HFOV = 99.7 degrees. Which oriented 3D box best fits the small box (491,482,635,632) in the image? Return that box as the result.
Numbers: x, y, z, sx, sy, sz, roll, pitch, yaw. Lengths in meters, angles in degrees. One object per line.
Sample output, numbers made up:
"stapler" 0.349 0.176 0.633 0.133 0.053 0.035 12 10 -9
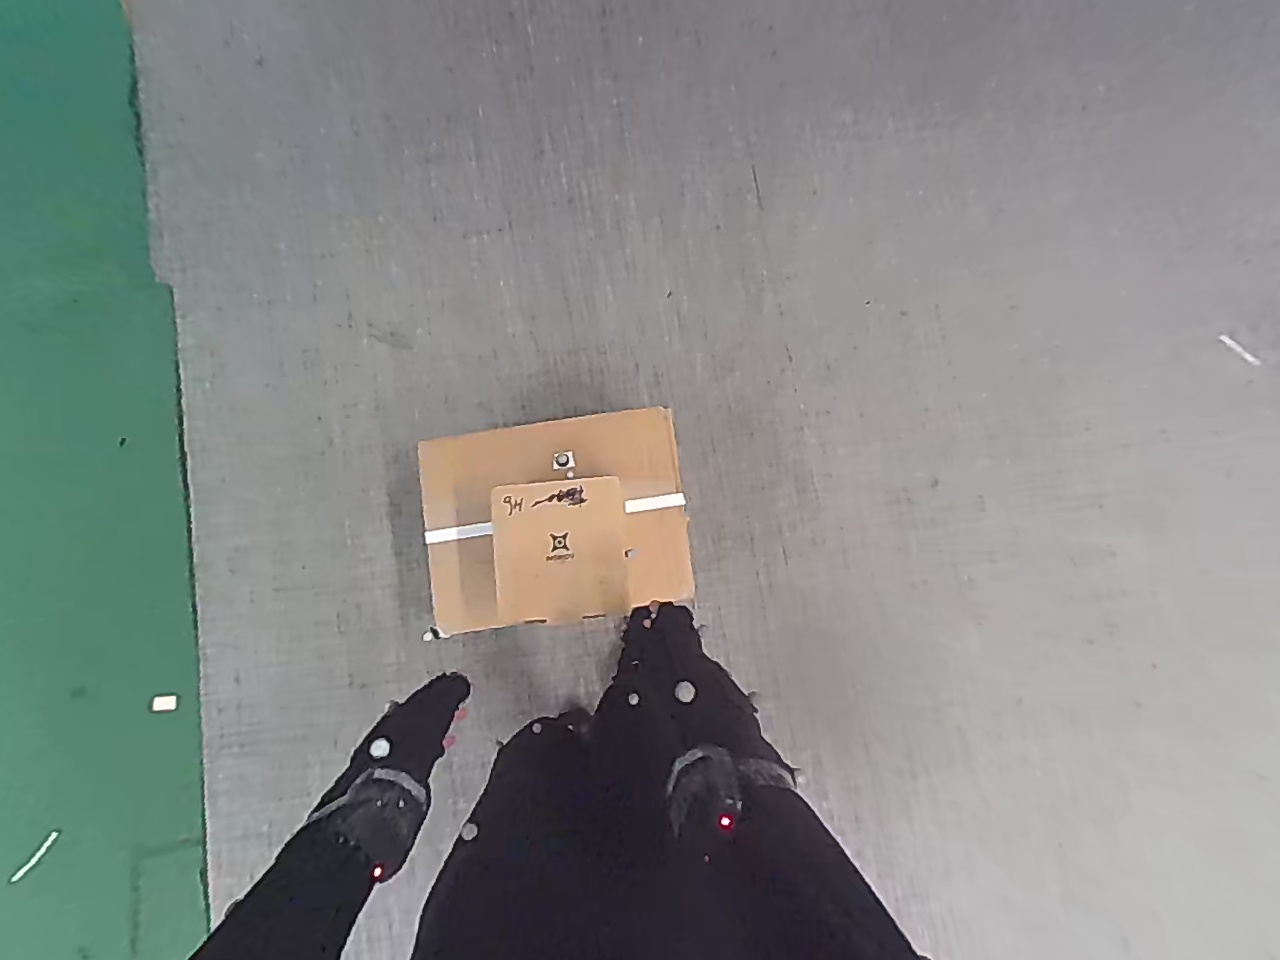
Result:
"small box" -0.097 0.101 0.754 0.168 0.176 0.179 -6 85 1
